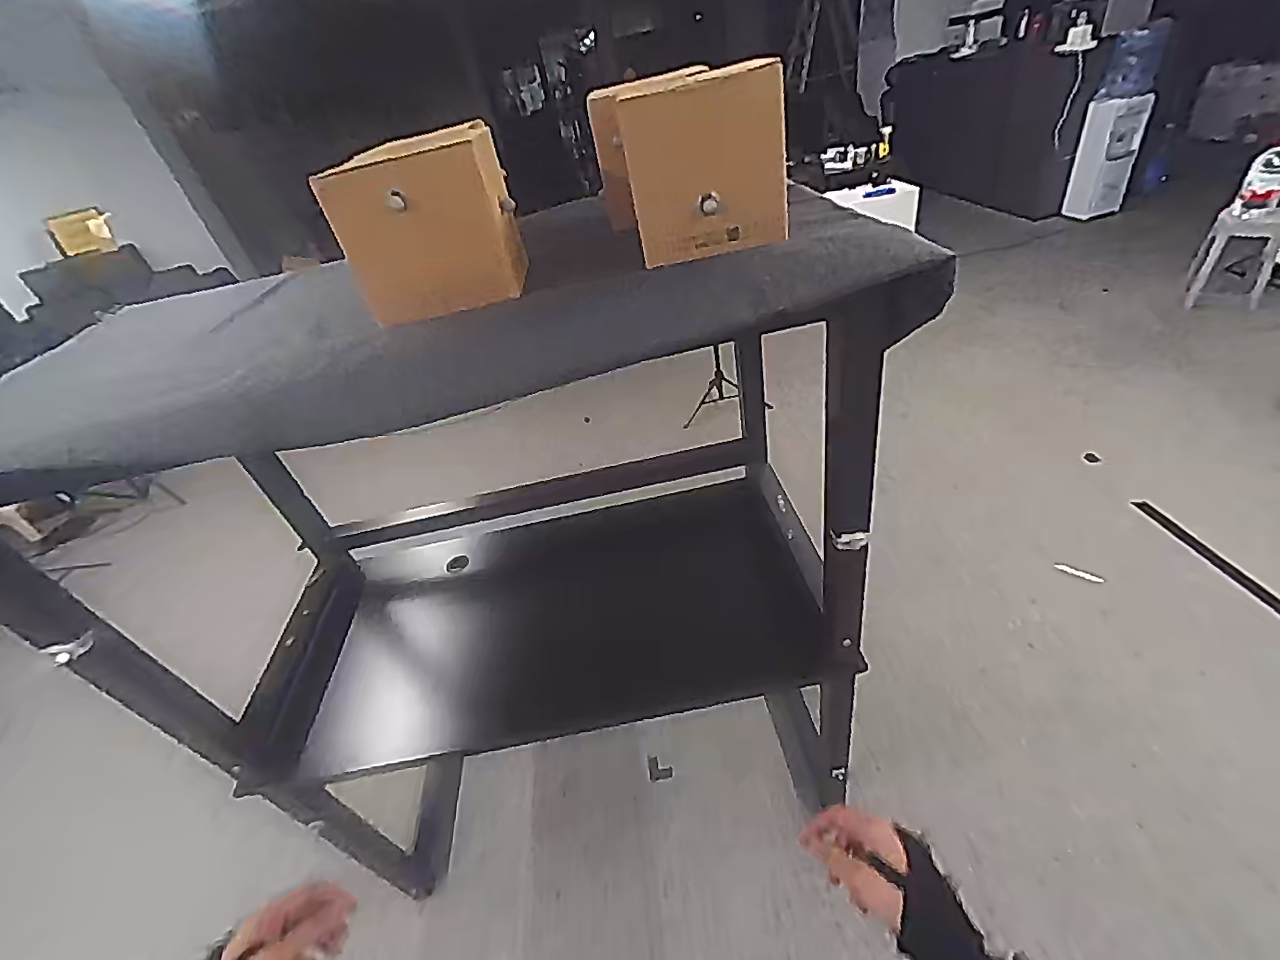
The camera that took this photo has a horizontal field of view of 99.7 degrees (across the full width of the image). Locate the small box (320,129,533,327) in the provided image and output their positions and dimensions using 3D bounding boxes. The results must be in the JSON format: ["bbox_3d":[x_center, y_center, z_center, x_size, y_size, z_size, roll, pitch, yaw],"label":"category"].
[{"bbox_3d":[-0.240,-0.309,0.665,0.179,0.176,0.168,-13,37,2],"label":"small box"}]

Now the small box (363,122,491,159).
[{"bbox_3d":[-0.302,-0.452,0.864,0.168,0.176,0.179,-13,38,2],"label":"small box"}]

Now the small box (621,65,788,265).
[{"bbox_3d":[0.078,-0.373,0.645,0.168,0.176,0.179,-8,38,8],"label":"small box"}]
